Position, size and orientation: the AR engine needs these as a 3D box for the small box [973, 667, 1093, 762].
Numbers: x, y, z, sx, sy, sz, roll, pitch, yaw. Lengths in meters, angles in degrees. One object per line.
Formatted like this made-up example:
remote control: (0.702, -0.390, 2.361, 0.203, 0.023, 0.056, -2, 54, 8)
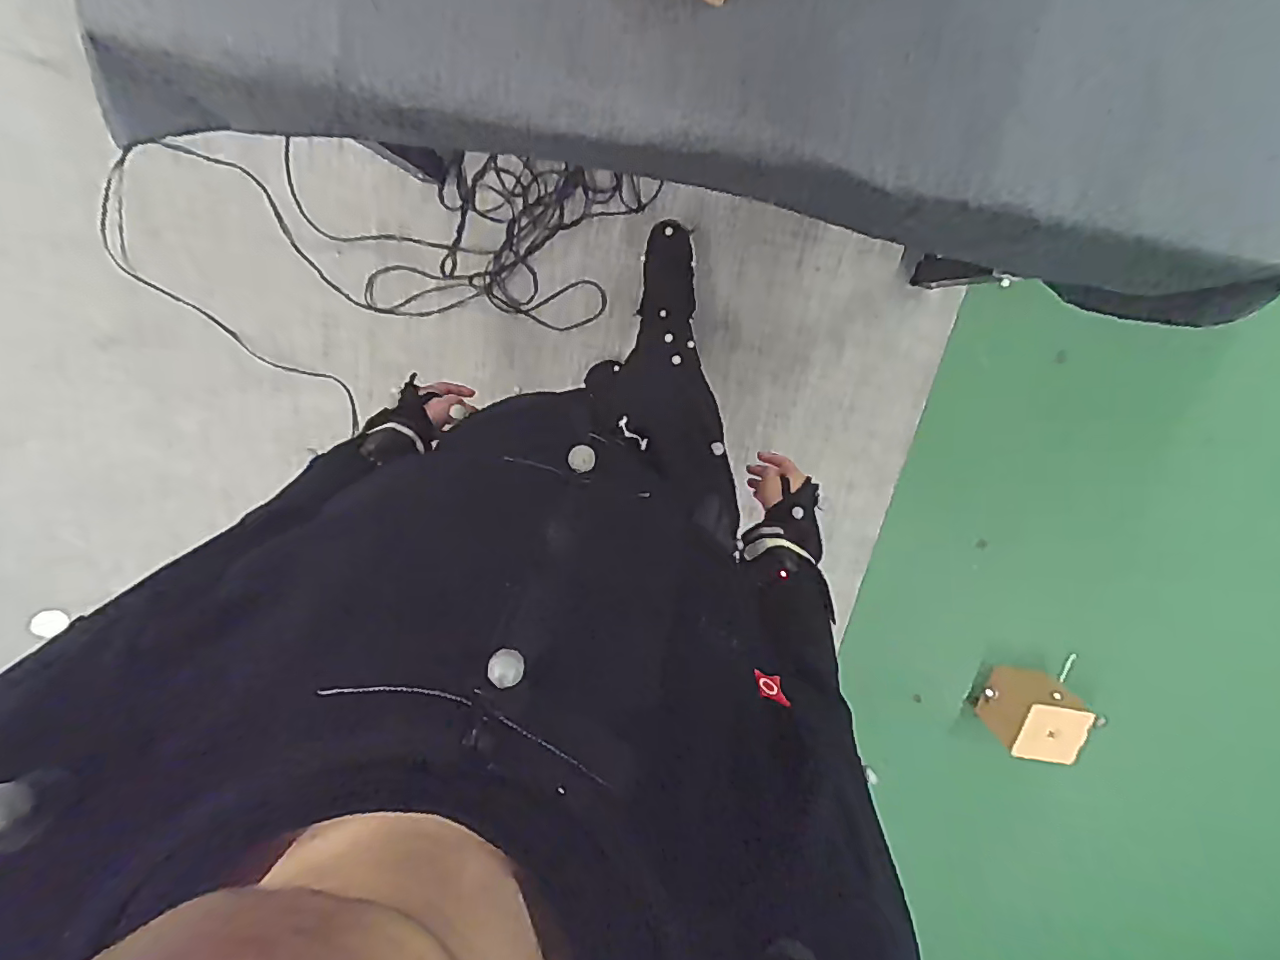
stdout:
small box: (1.074, 0.640, 1.492, 0.179, 0.176, 0.168, 10, 105, -3)
